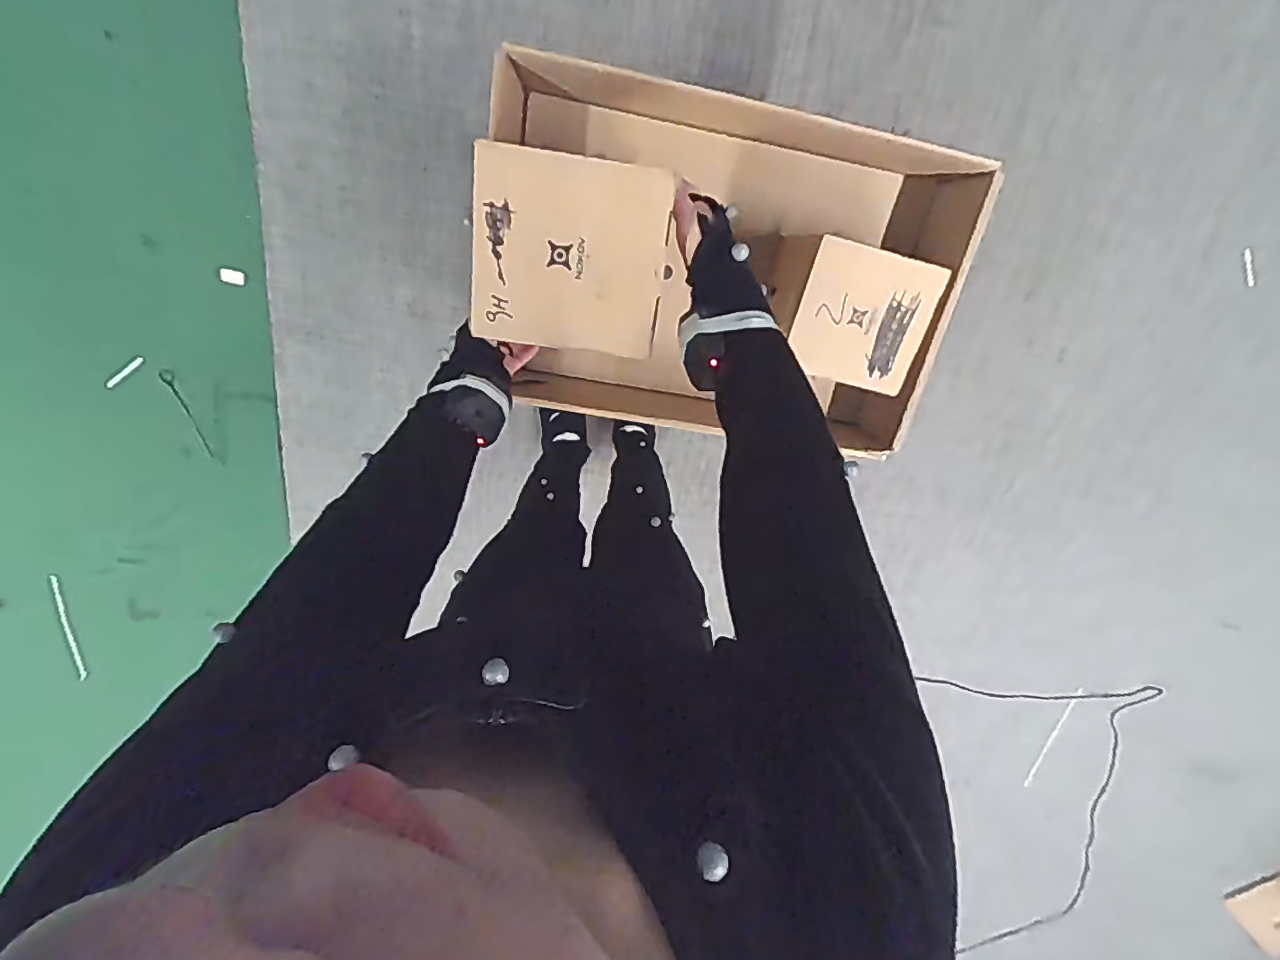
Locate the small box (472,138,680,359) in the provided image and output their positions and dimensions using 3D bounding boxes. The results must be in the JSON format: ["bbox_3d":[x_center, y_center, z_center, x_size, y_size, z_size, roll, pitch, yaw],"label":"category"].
[{"bbox_3d":[-0.066,-0.234,0.564,0.179,0.176,0.168,7,112,-5],"label":"small box"}]
